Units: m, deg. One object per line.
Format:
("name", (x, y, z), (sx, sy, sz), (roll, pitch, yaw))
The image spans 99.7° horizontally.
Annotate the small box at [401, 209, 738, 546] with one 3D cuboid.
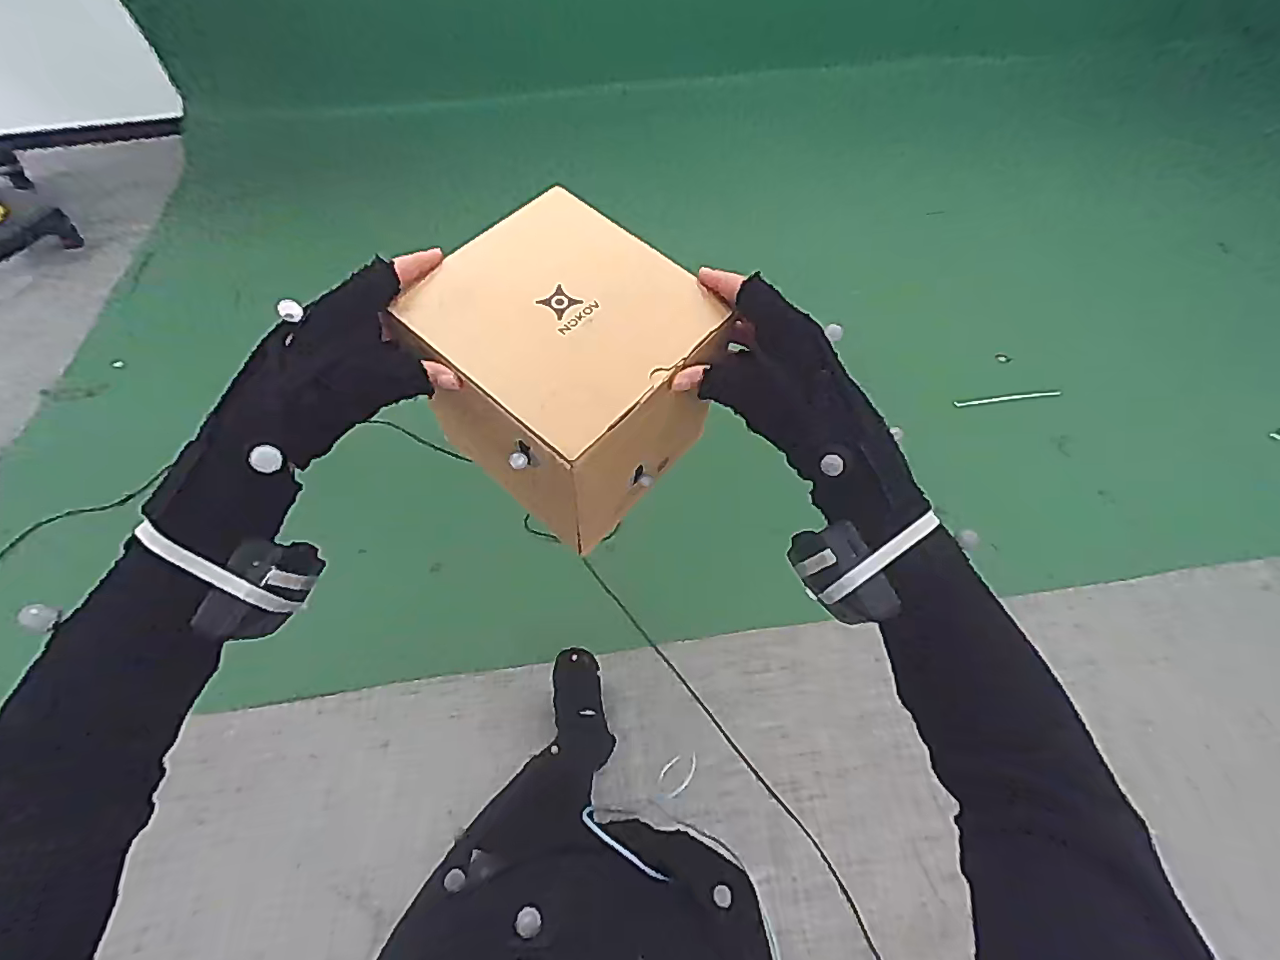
("small box", (-0.053, -0.073, 0.443), (0.179, 0.176, 0.168), (39, 68, 14))
